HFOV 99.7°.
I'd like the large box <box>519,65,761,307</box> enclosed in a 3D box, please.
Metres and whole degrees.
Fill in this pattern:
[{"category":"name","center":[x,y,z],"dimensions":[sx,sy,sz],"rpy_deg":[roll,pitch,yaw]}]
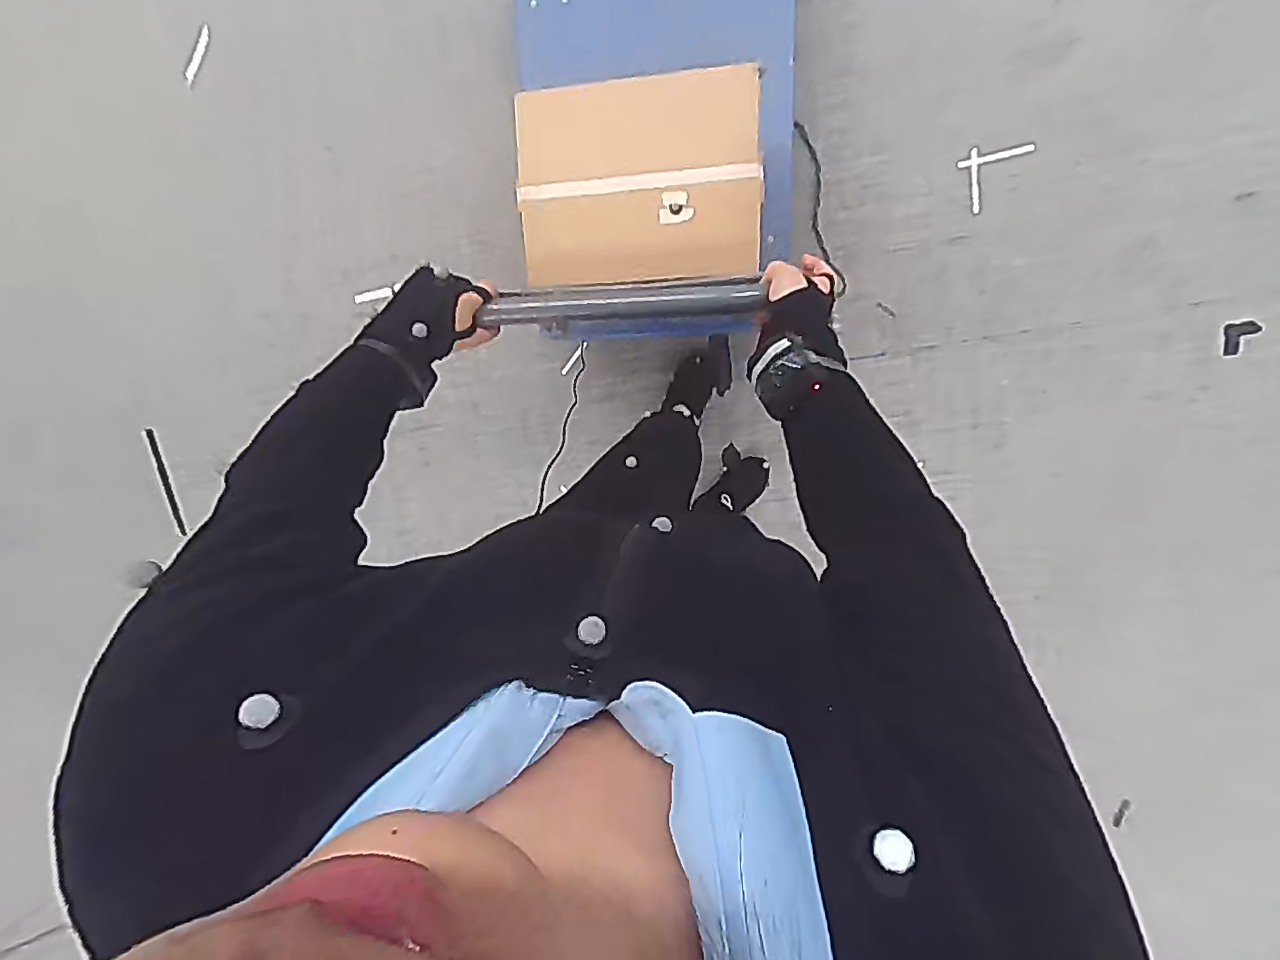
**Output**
[{"category":"large box","center":[0.020,-0.525,1.049],"dimensions":[0.408,0.320,0.320],"rpy_deg":[-1,102,9]}]
